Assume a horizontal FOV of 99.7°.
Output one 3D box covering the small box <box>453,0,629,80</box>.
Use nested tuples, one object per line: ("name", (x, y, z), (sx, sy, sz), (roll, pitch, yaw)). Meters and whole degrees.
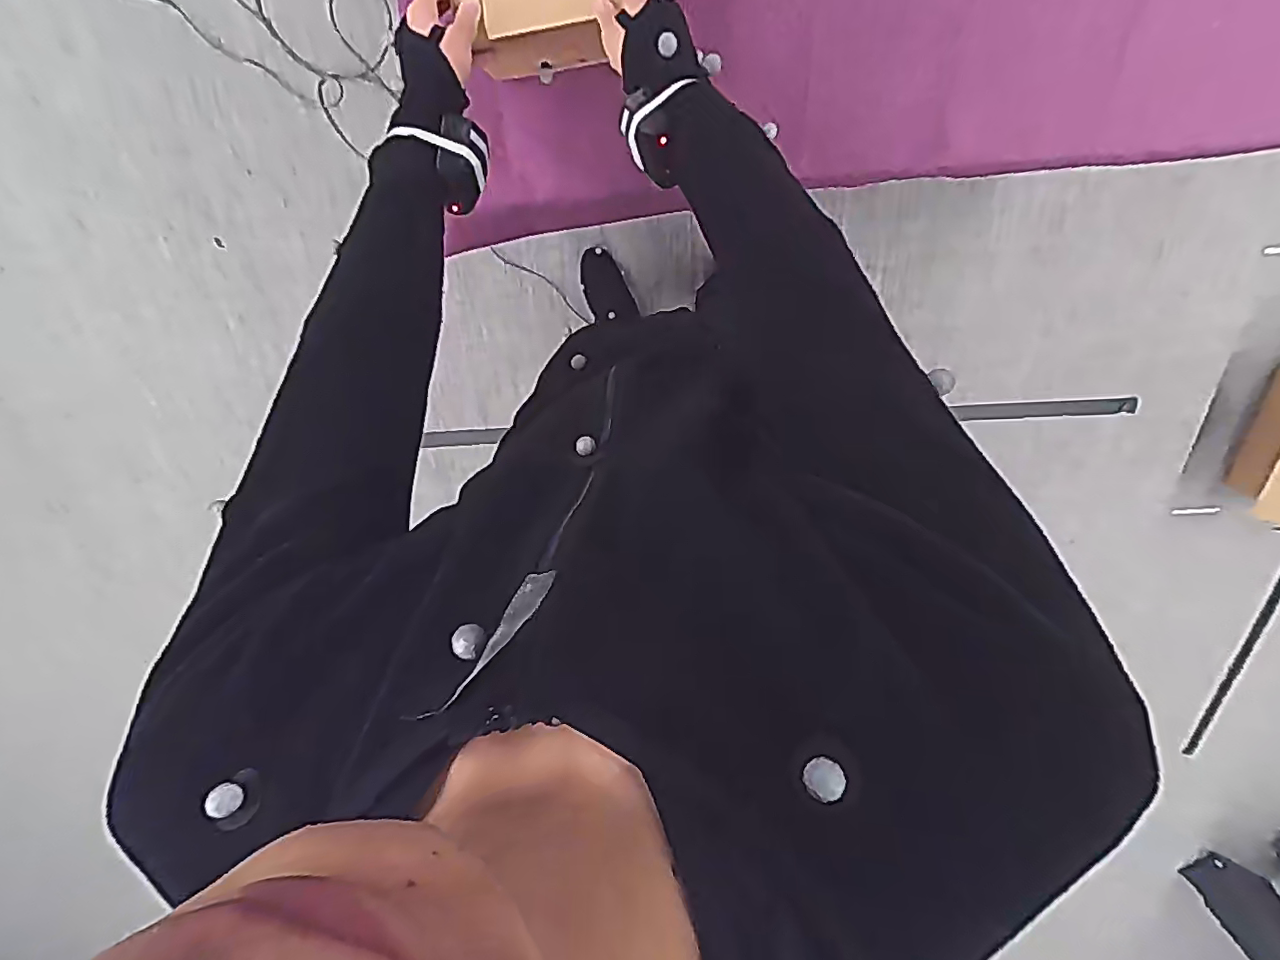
("small box", (-0.105, -0.545, 0.552), (0.168, 0.176, 0.179), (-8, 115, 3))
